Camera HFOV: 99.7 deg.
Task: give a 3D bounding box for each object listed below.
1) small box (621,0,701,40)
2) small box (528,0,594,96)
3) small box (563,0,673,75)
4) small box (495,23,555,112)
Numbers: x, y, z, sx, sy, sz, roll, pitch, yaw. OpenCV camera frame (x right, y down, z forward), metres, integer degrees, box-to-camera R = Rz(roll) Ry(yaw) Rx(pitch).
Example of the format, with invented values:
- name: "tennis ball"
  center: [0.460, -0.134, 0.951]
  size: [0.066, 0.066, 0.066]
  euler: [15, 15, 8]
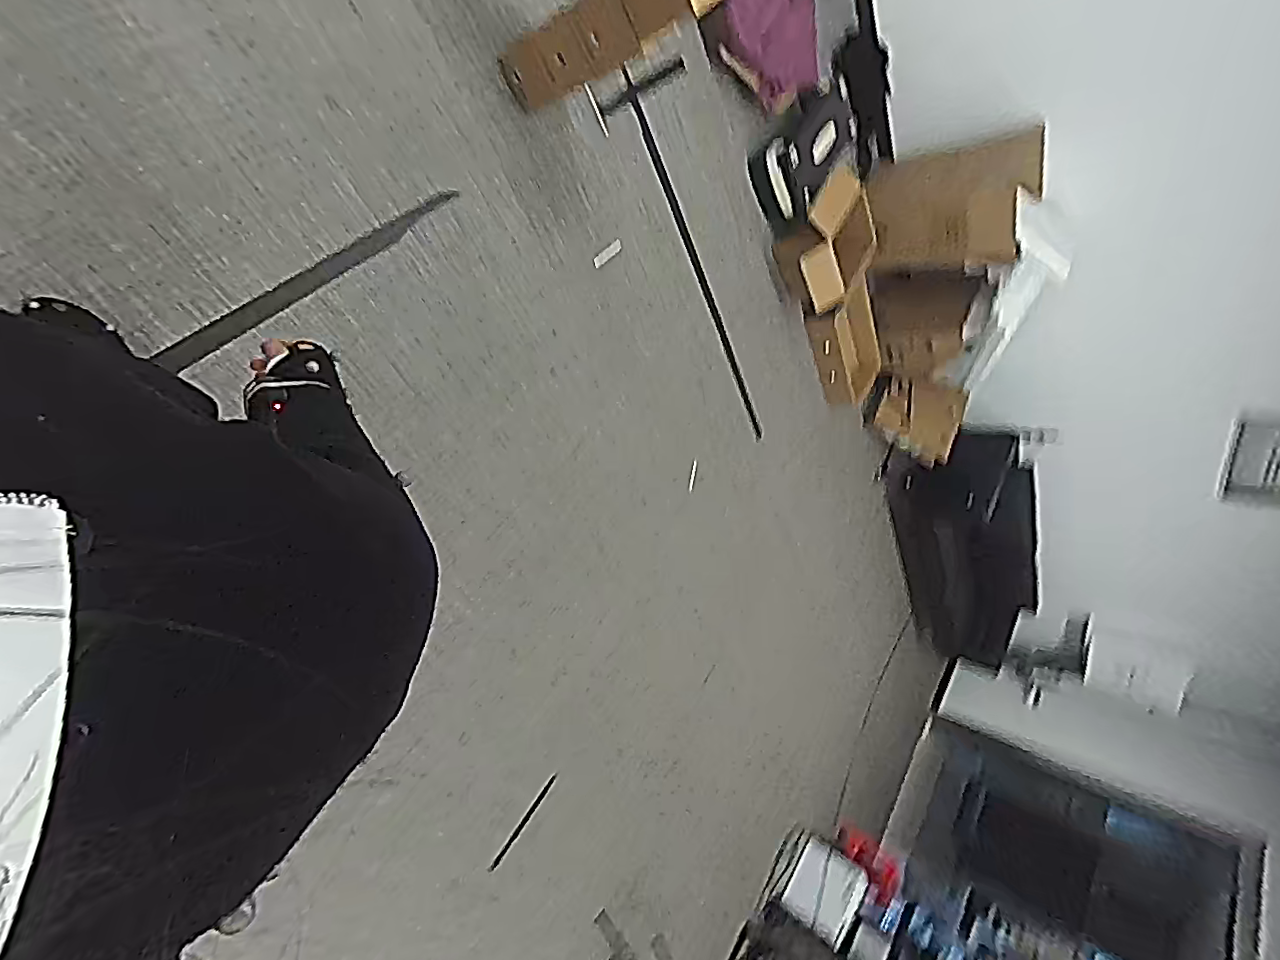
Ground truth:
- name: "small box"
  center: [0.051, -1.137, 1.199]
  size: [0.168, 0.176, 0.179]
  euler: [-55, 131, -23]
- name: "small box"
  center: [-0.173, -1.168, 1.440]
  size: [0.179, 0.176, 0.168]
  euler: [-51, 130, -25]
- name: "small box"
  center: [-0.056, -1.145, 1.325]
  size: [0.179, 0.176, 0.168]
  euler: [-56, 131, -22]
- name: "small box"
  center: [-0.282, -1.205, 1.558]
  size: [0.179, 0.176, 0.168]
  euler: [-52, 129, -24]
